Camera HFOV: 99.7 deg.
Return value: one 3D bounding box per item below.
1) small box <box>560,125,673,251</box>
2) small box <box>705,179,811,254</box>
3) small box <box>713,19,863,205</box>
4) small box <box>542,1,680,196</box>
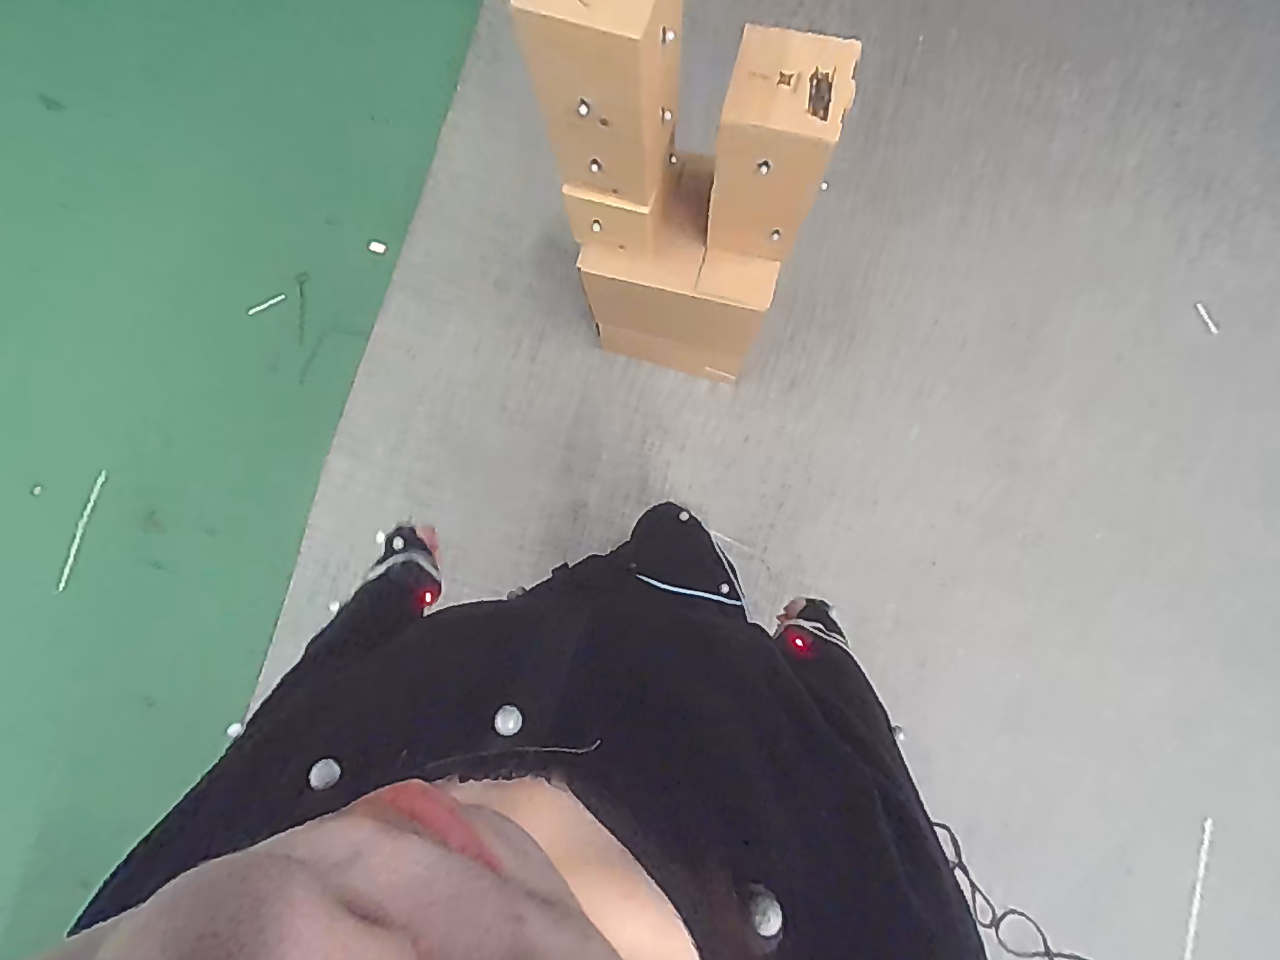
[{"bbox_3d":[-0.039,-0.572,1.037,0.168,0.176,0.179,16,85,3],"label":"small box"},{"bbox_3d":[0.230,-0.557,1.027,0.179,0.176,0.168,14,85,5],"label":"small box"},{"bbox_3d":[0.225,-0.573,0.864,0.179,0.176,0.168,15,85,5],"label":"small box"},{"bbox_3d":[-0.040,-0.601,0.875,0.168,0.176,0.179,18,85,2],"label":"small box"}]
